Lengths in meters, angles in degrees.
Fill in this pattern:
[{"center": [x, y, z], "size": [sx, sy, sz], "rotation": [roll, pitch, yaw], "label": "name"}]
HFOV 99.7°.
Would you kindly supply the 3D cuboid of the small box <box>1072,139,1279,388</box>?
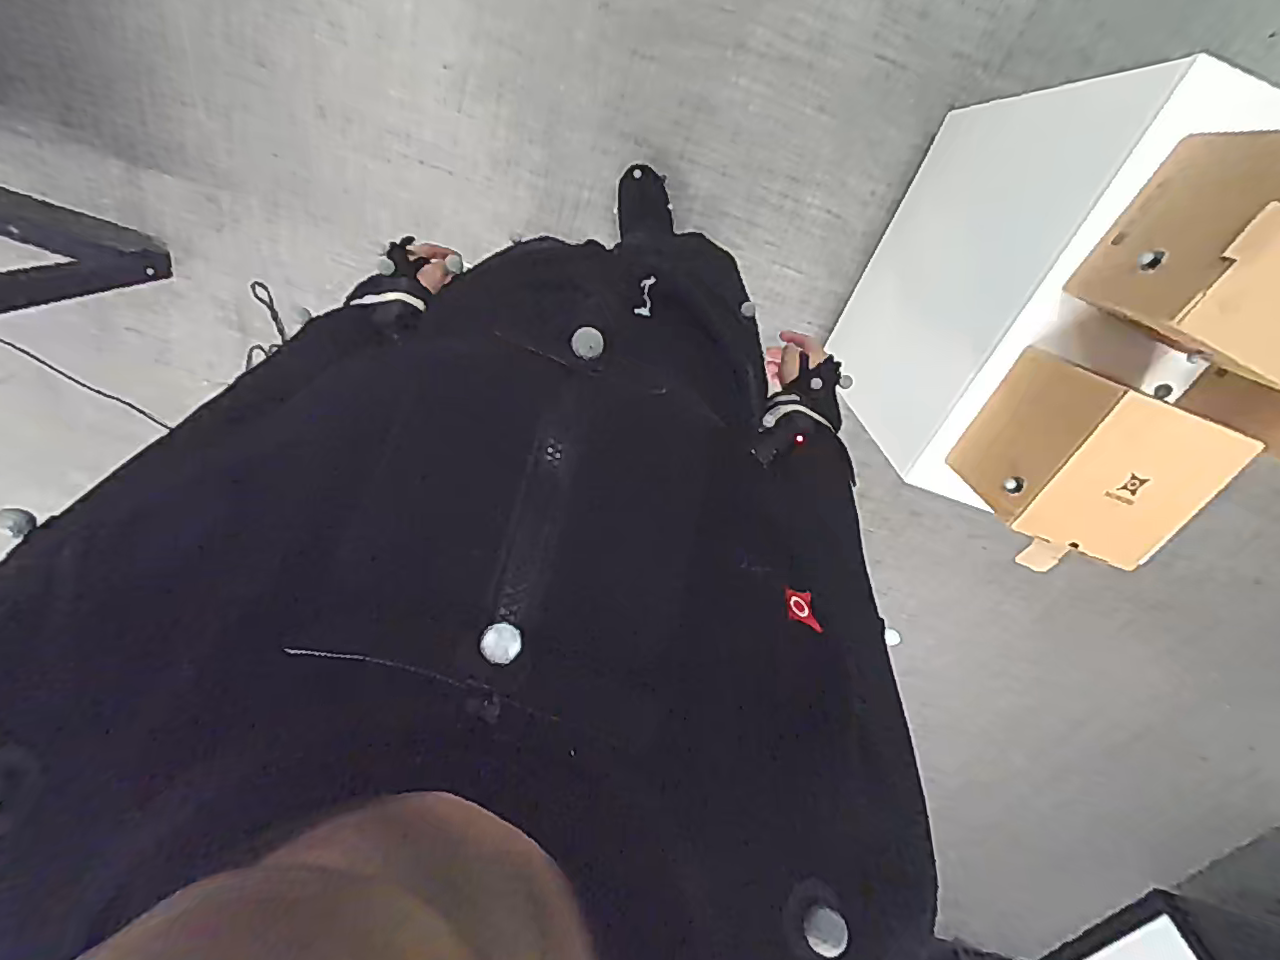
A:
[{"center": [0.590, -0.208, 0.527], "size": [0.179, 0.176, 0.168], "rotation": [21, 120, -9], "label": "small box"}]
